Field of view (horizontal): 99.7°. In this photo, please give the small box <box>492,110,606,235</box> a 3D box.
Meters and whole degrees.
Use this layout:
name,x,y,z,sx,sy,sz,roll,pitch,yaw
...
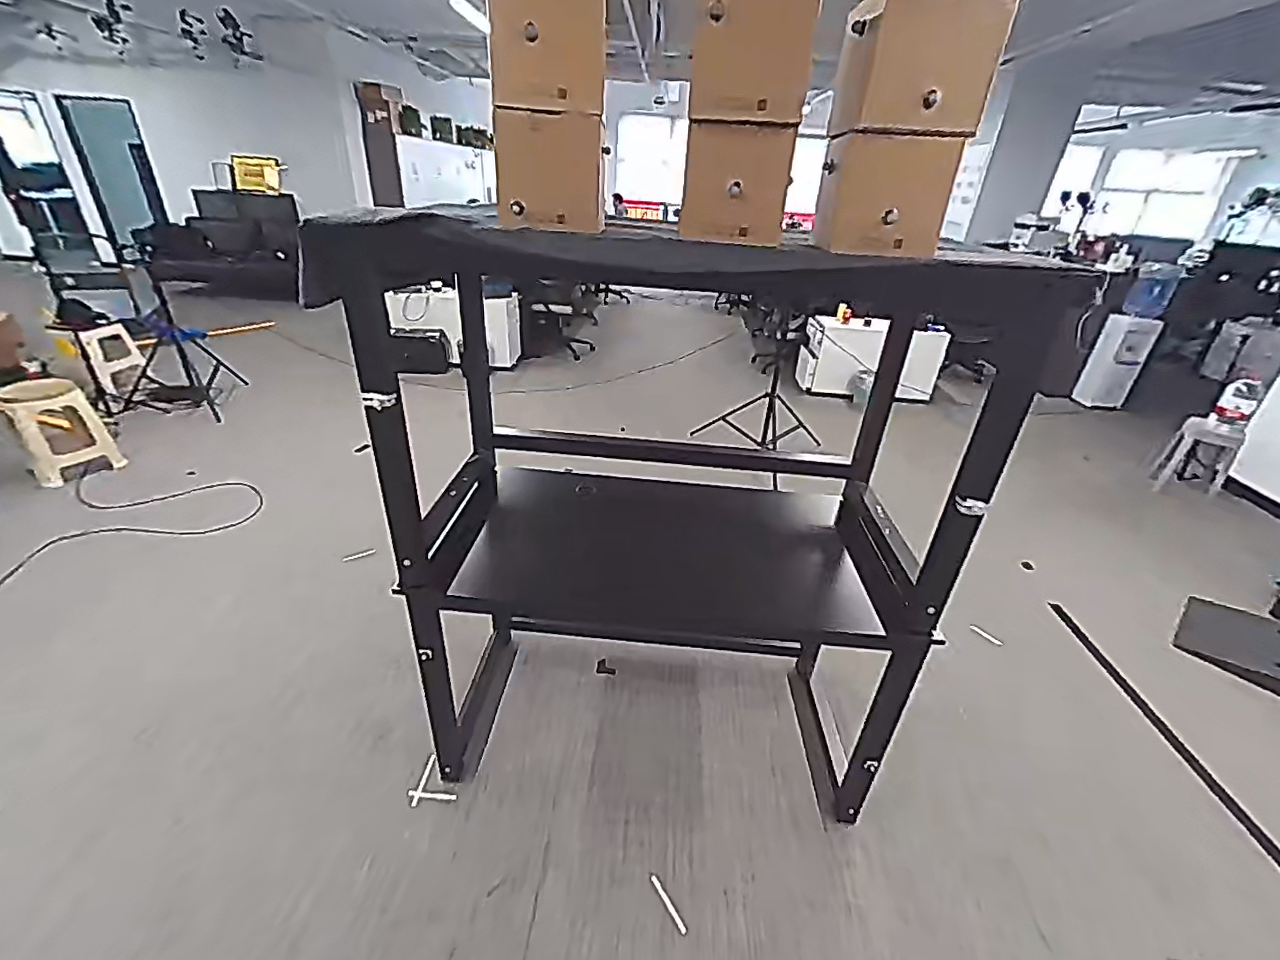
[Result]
name,x,y,z,sx,sy,sz,roll,pitch,yaw
small box,-0.145,-0.516,0.924,0.168,0.176,0.179,3,27,-2

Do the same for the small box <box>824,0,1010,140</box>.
name,x,y,z,sx,sy,sz,roll,pitch,yaw
small box,0.401,-0.607,0.805,0.179,0.176,0.168,4,28,-1

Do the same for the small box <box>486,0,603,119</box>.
name,x,y,z,sx,sy,sz,roll,pitch,yaw
small box,-0.144,-0.660,0.848,0.168,0.176,0.179,-1,27,-8

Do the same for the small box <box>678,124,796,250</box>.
name,x,y,z,sx,sy,sz,roll,pitch,yaw
small box,0.156,-0.487,0.908,0.168,0.176,0.179,7,28,4

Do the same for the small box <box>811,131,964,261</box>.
name,x,y,z,sx,sy,sz,roll,pitch,yaw
small box,0.391,-0.466,0.895,0.168,0.176,0.179,4,28,3
